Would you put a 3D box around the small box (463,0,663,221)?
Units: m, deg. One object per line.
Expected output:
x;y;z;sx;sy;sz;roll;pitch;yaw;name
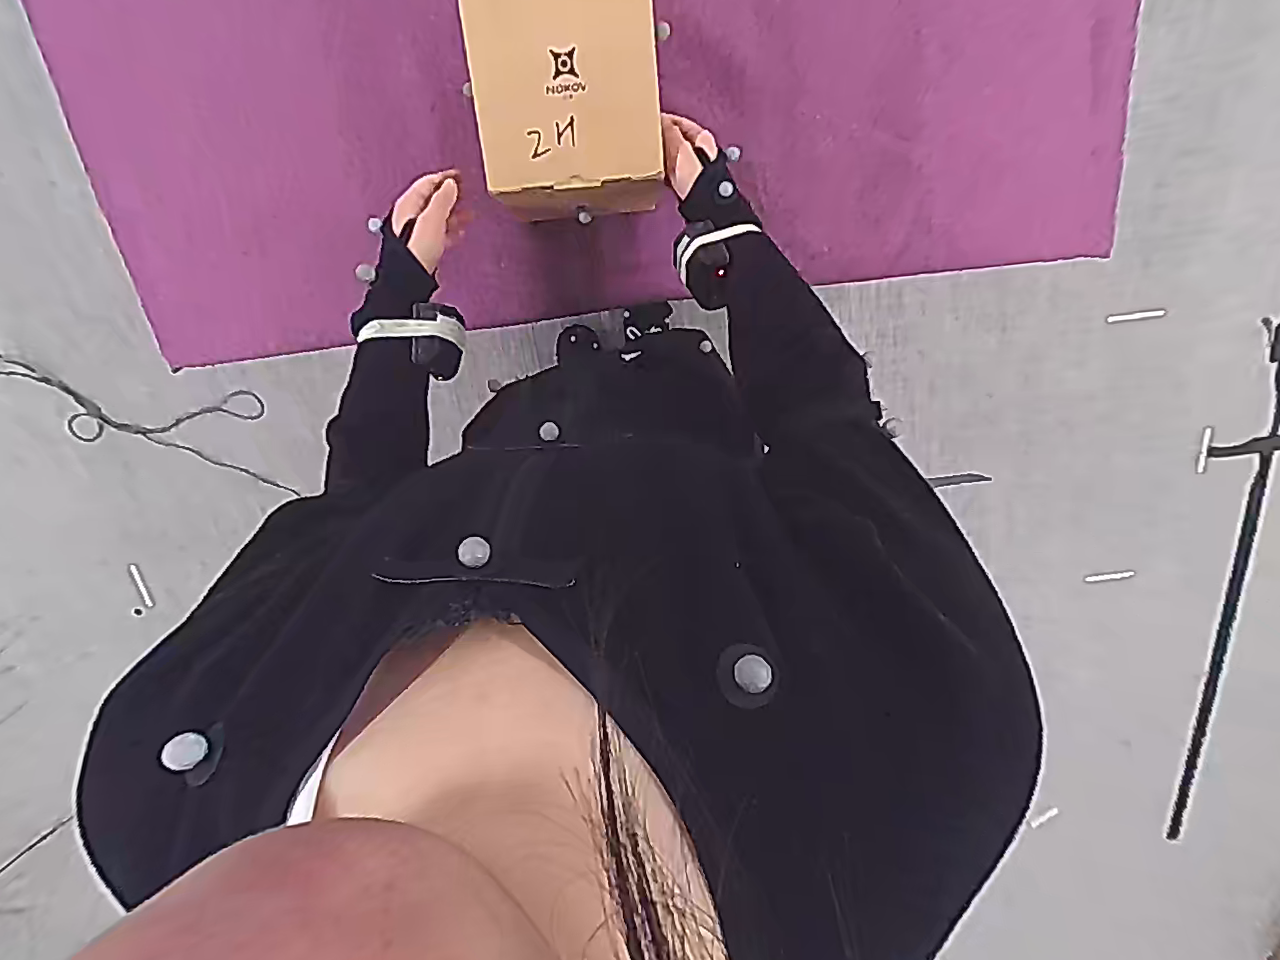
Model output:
-0.069;-0.381;0.554;0.168;0.176;0.179;-6;108;0;small box

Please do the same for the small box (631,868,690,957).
0.072;1.539;1.928;0.168;0.176;0.179;-17;108;2;small box
